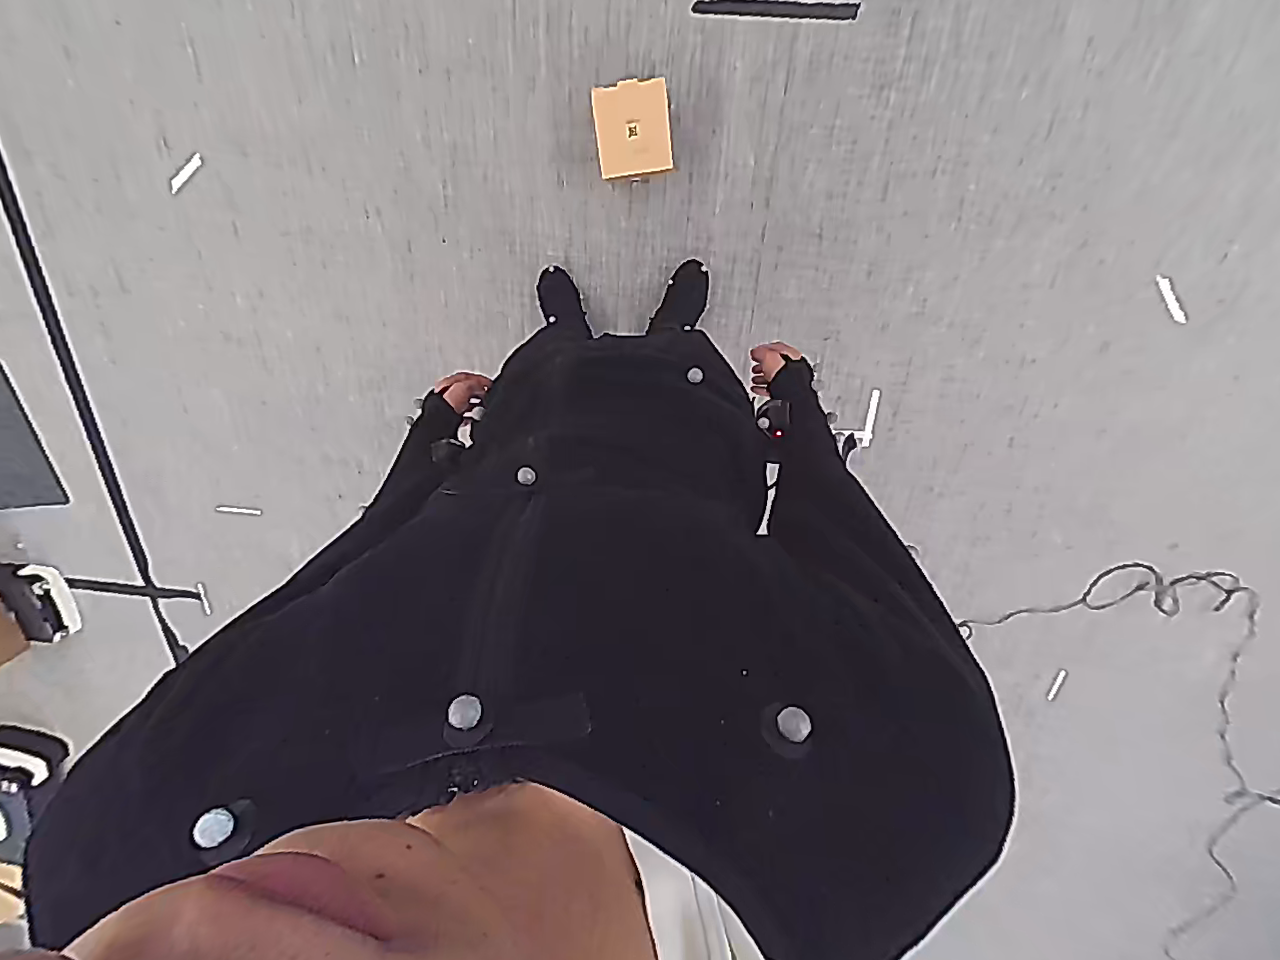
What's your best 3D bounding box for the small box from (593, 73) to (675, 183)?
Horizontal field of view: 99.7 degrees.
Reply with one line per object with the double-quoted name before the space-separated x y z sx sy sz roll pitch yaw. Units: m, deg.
"small box" -0.007 -0.804 1.252 0.168 0.176 0.179 -5 114 7
